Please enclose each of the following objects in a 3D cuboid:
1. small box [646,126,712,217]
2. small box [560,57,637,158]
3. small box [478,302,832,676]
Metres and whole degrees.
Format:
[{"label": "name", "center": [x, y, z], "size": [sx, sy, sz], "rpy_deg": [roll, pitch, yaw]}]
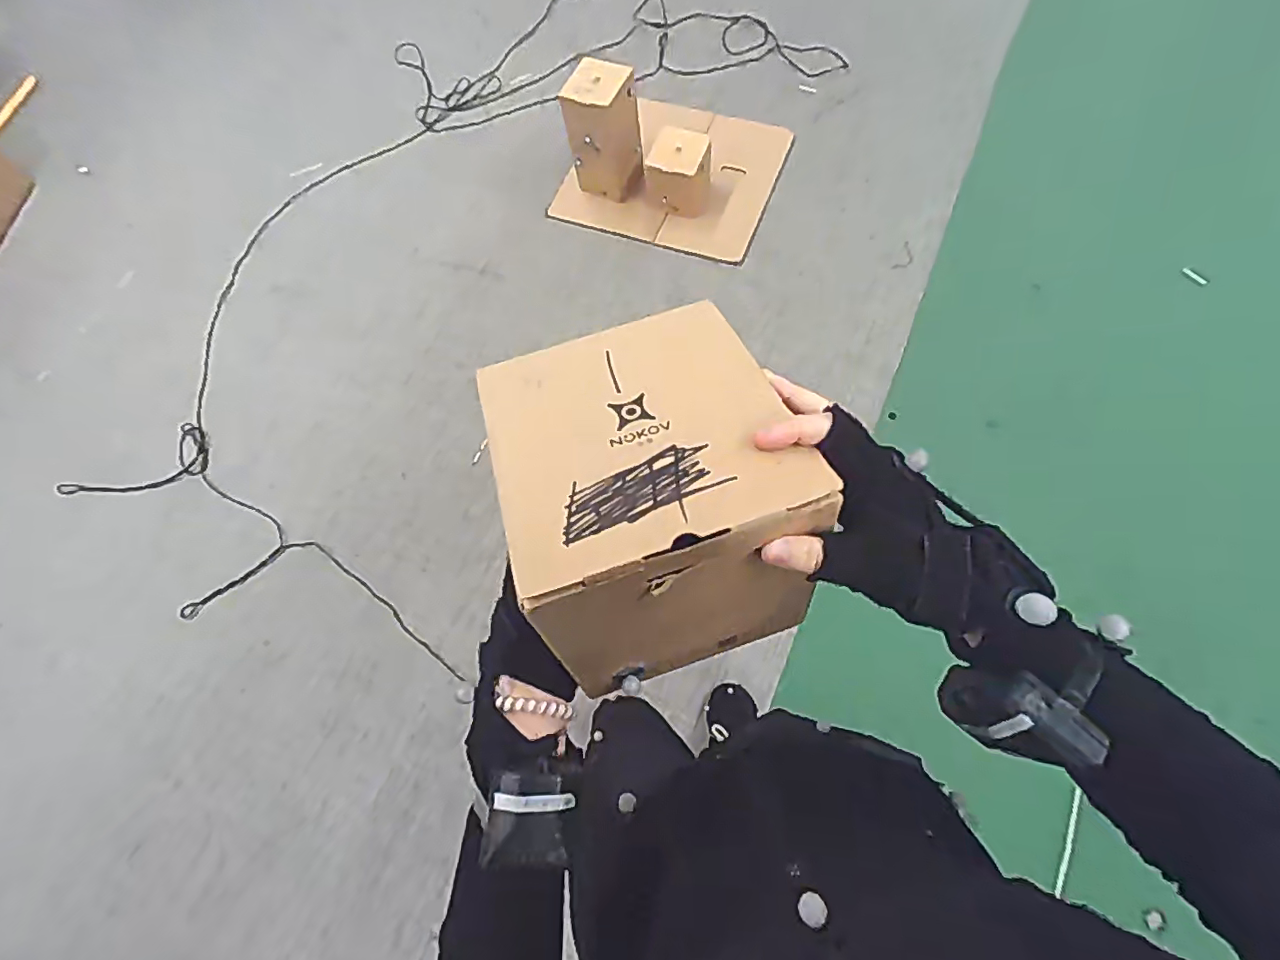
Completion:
[{"label": "small box", "center": [0.126, -0.994, 1.750], "size": [0.168, 0.176, 0.179], "rpy_deg": [19, 74, 11]}, {"label": "small box", "center": [-0.118, -1.126, 1.641], "size": [0.168, 0.176, 0.179], "rpy_deg": [23, 74, 14]}, {"label": "small box", "center": [0.006, 0.017, 0.372], "size": [0.168, 0.176, 0.179], "rpy_deg": [-18, 53, -4]}]
